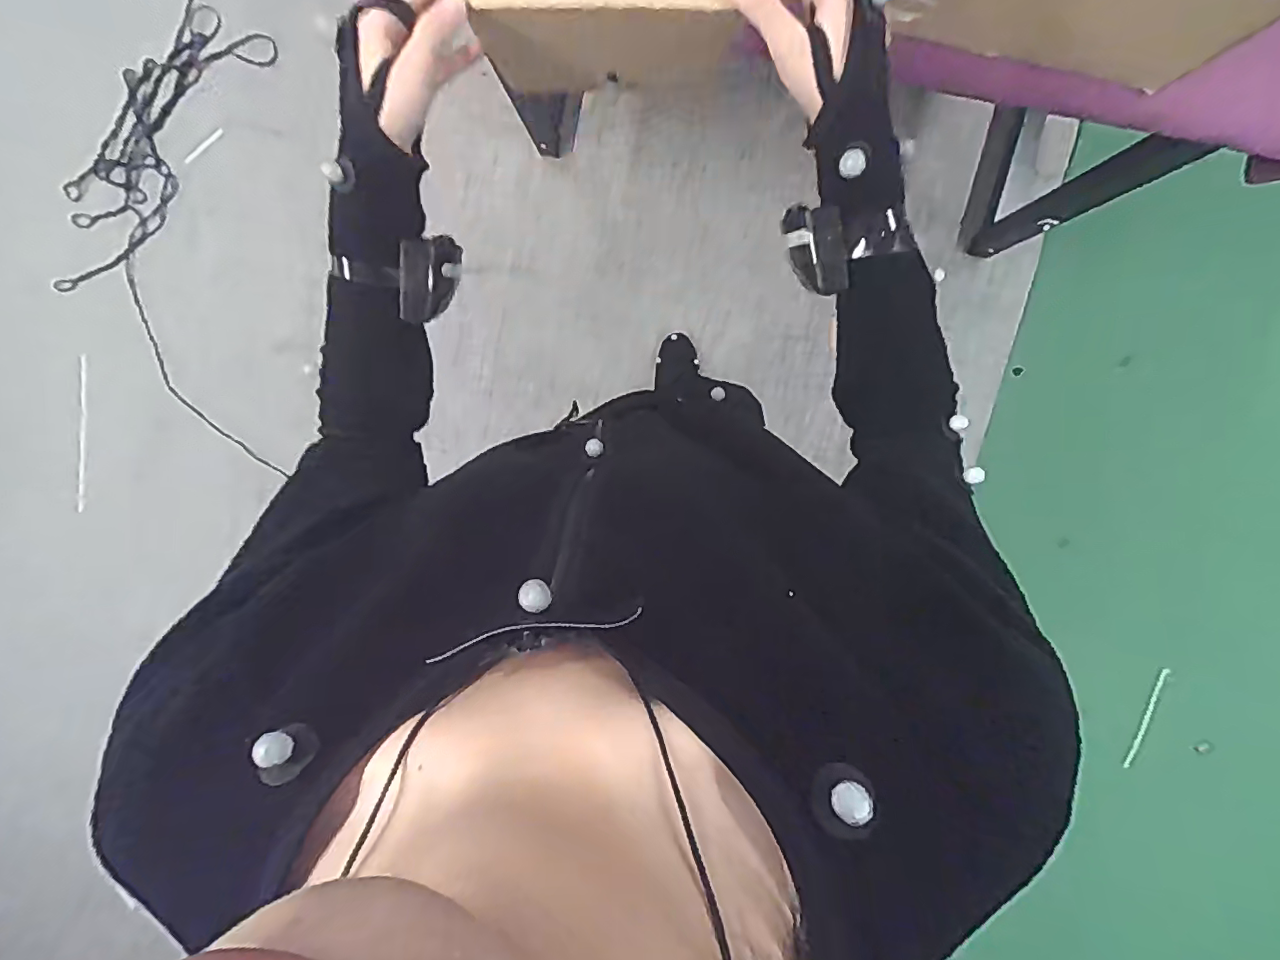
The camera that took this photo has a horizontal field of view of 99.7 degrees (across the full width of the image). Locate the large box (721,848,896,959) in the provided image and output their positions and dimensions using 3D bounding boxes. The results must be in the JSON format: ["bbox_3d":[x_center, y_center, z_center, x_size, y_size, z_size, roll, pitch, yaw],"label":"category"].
[{"bbox_3d":[0.445,1.282,1.504,0.408,0.320,0.320,-2,98,2],"label":"large box"}]

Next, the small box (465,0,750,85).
[{"bbox_3d":[-0.021,-0.387,0.360,0.179,0.176,0.168,1,111,-2],"label":"small box"}]
